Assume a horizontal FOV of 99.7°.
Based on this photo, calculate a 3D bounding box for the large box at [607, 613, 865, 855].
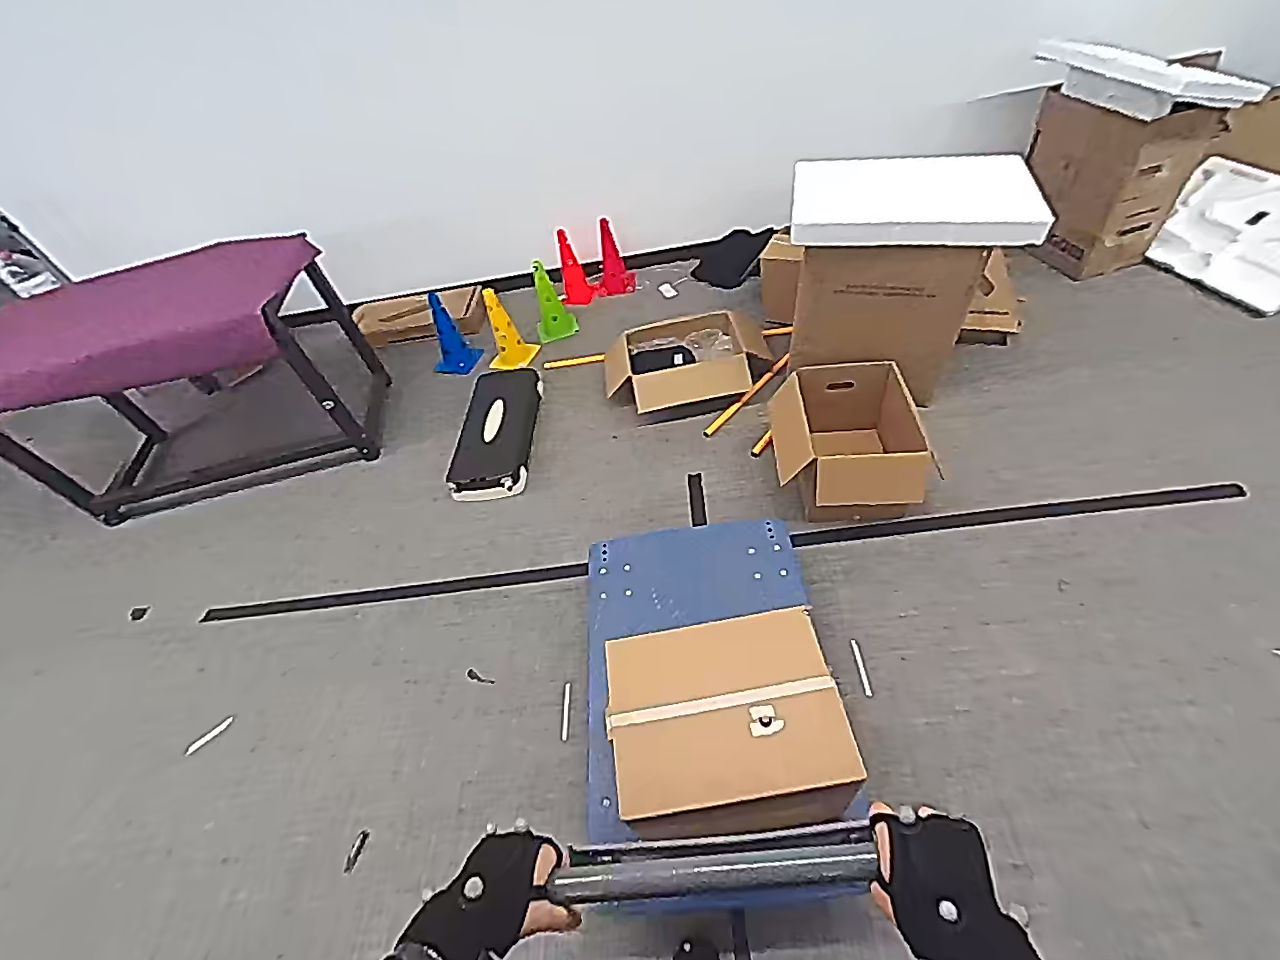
[{"bbox_3d":[0.168,0.509,1.077,0.408,0.320,0.320,-10,48,0],"label":"large box"}]
